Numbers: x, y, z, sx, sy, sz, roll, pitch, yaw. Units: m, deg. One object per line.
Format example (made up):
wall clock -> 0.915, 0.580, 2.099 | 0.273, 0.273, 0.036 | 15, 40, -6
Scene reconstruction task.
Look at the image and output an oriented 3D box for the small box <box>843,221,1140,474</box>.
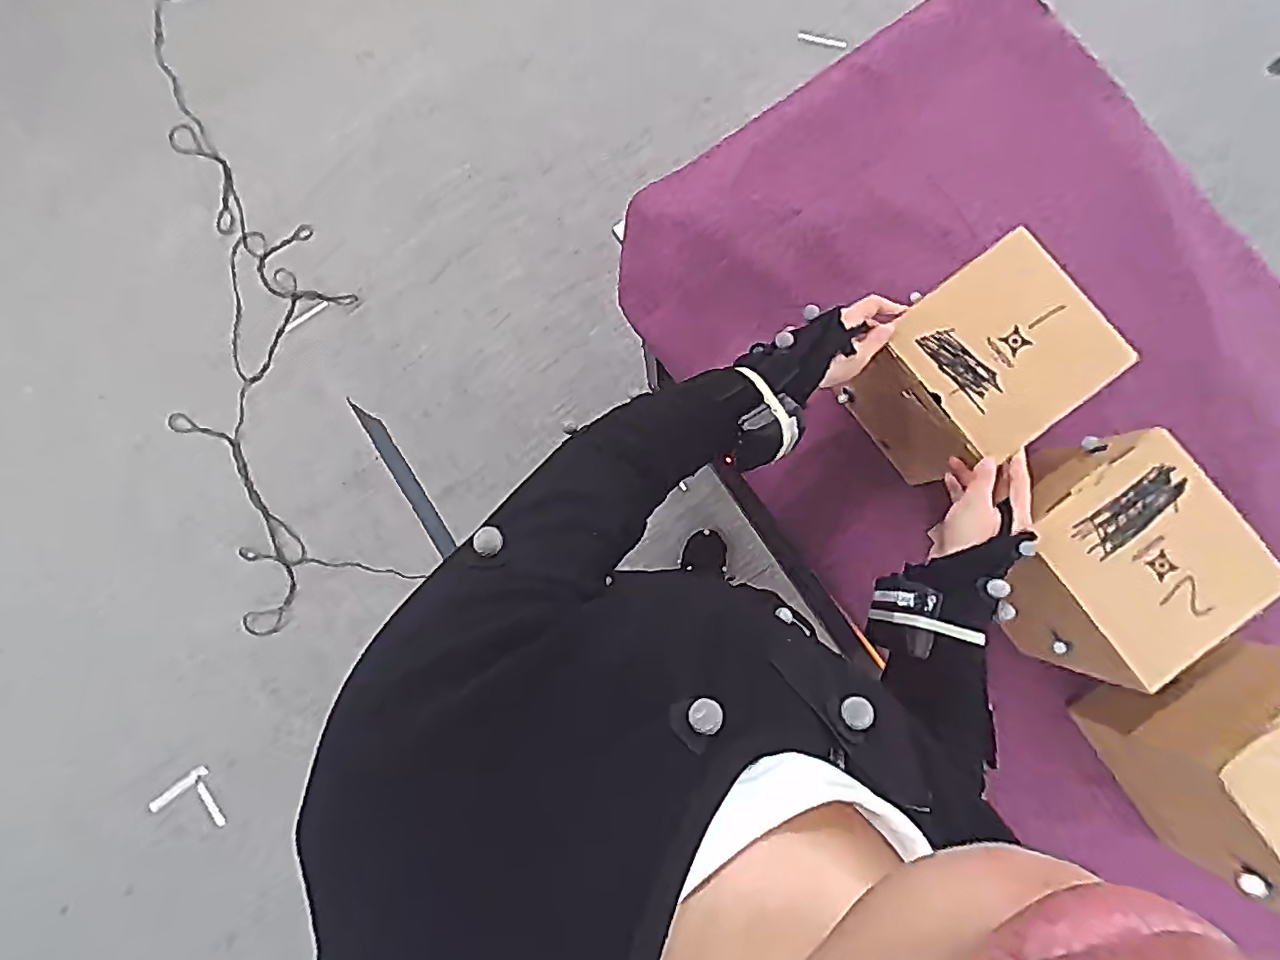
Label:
small box -> 0.344, -0.122, 0.577 | 0.179, 0.176, 0.168 | -36, 85, -2
